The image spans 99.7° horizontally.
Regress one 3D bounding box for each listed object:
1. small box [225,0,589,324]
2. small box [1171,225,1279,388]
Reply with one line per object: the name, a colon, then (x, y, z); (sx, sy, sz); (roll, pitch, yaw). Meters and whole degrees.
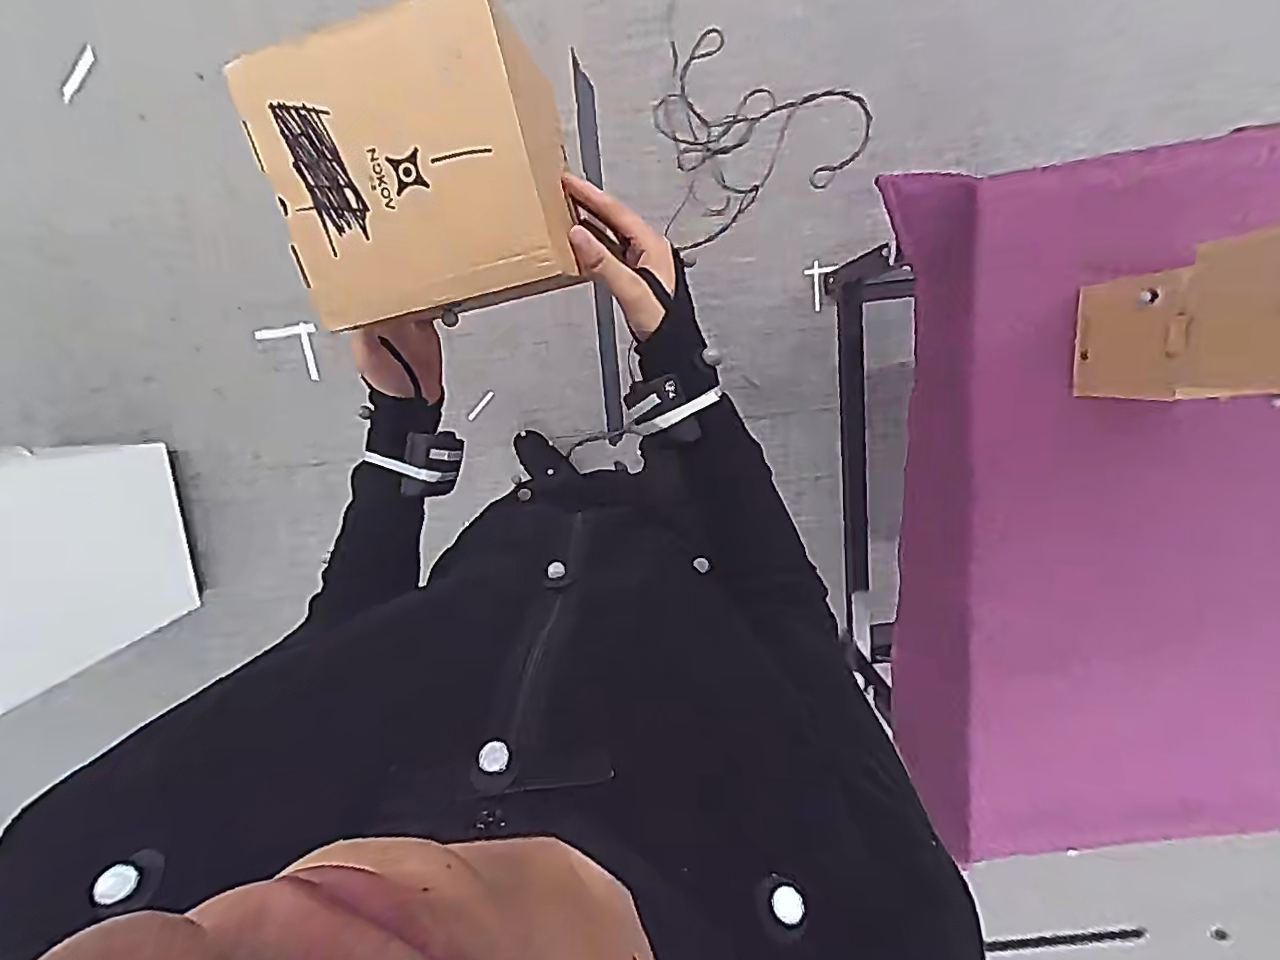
small box: (-0.153, -0.225, 0.423); (0.179, 0.176, 0.168); (-12, 108, 8)
small box: (0.765, -0.193, 0.608); (0.168, 0.176, 0.179); (2, 102, -1)
